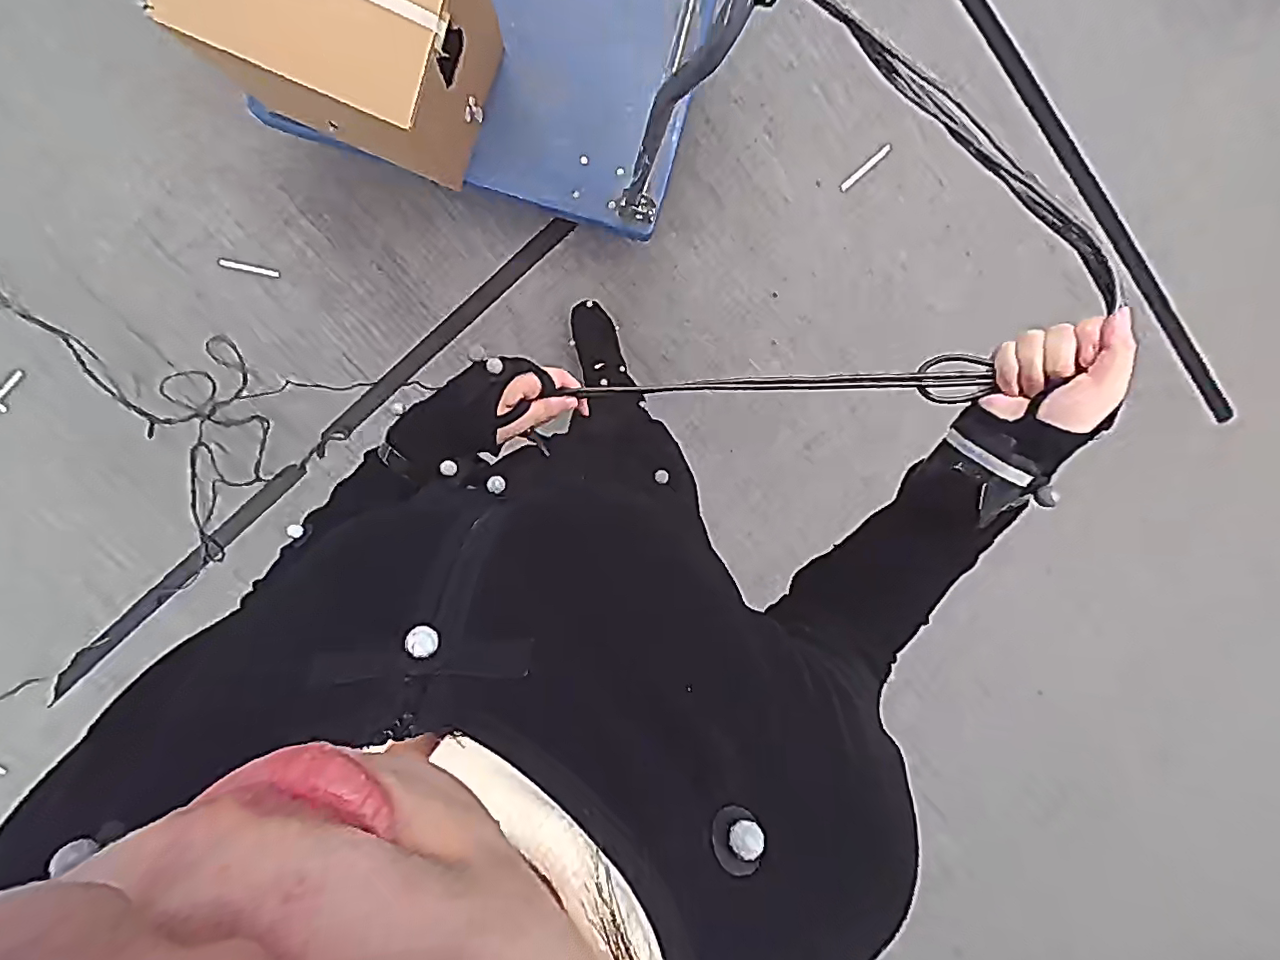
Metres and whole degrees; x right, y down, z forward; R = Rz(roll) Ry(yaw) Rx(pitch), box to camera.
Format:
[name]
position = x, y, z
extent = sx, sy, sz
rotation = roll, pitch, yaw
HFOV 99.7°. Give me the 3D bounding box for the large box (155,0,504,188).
[large box]
position = -0.499, -0.785, 0.952
extent = 0.408, 0.320, 0.320
rotation = 20, 99, -7
